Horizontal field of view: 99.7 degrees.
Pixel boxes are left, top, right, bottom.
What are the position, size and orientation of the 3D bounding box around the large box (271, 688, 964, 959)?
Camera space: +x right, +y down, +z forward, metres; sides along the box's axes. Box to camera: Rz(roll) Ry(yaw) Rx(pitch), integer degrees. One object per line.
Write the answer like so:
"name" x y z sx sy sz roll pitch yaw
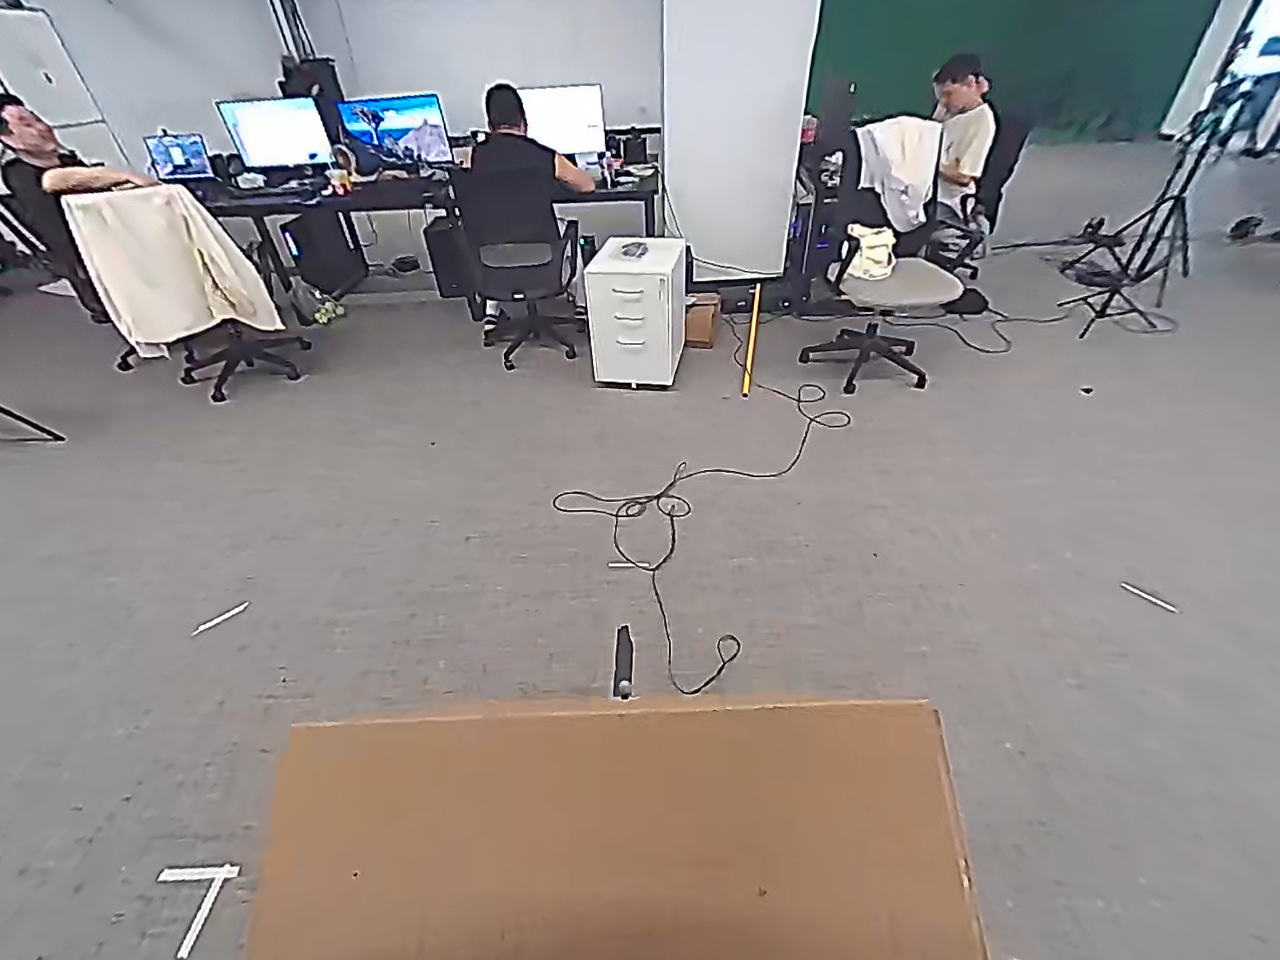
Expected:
"large box" -0.006 0.349 0.438 0.408 0.320 0.320 -4 70 3
